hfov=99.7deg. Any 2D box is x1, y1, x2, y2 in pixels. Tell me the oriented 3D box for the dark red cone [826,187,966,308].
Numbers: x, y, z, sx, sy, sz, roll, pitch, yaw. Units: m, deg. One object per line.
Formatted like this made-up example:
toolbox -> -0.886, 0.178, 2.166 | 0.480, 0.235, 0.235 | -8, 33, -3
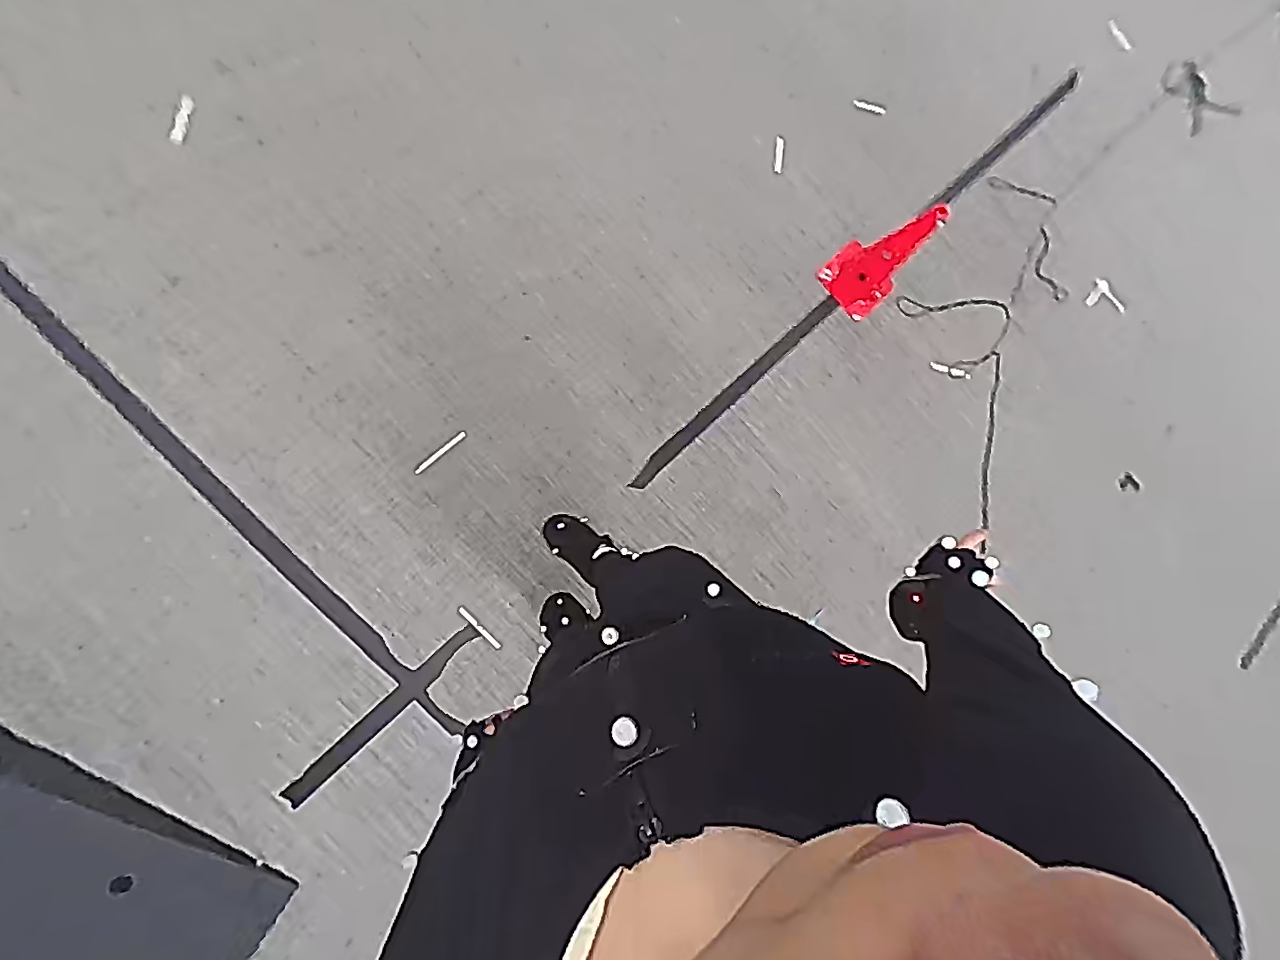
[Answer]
dark red cone -> 0.713, -0.657, 1.474 | 0.202, 0.394, 0.201 | -44, 95, -14
